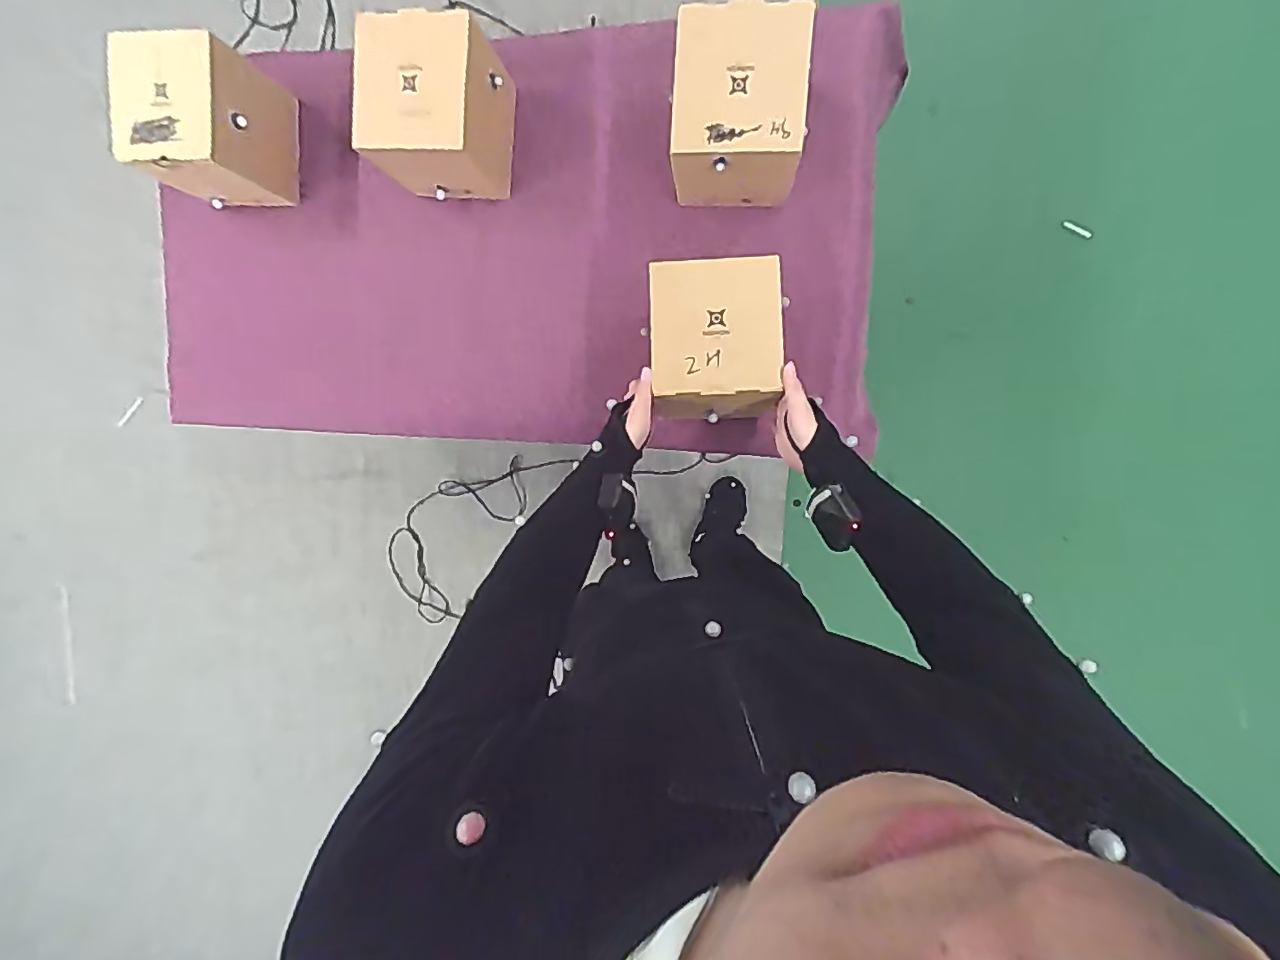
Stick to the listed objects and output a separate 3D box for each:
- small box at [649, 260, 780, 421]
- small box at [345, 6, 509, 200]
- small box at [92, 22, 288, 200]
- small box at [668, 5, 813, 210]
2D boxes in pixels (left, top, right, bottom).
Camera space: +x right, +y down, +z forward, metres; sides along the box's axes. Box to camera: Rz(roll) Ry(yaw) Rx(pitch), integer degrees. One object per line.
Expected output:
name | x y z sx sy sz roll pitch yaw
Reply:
small box | 0.097 -0.186 0.759 0.168 0.176 0.179 -1 86 4
small box | -0.300 -0.539 0.792 0.168 0.176 0.179 6 98 7
small box | -0.676 -0.551 0.832 0.168 0.176 0.179 4 97 6
small box | 0.131 -0.497 0.743 0.168 0.176 0.179 5 97 7
